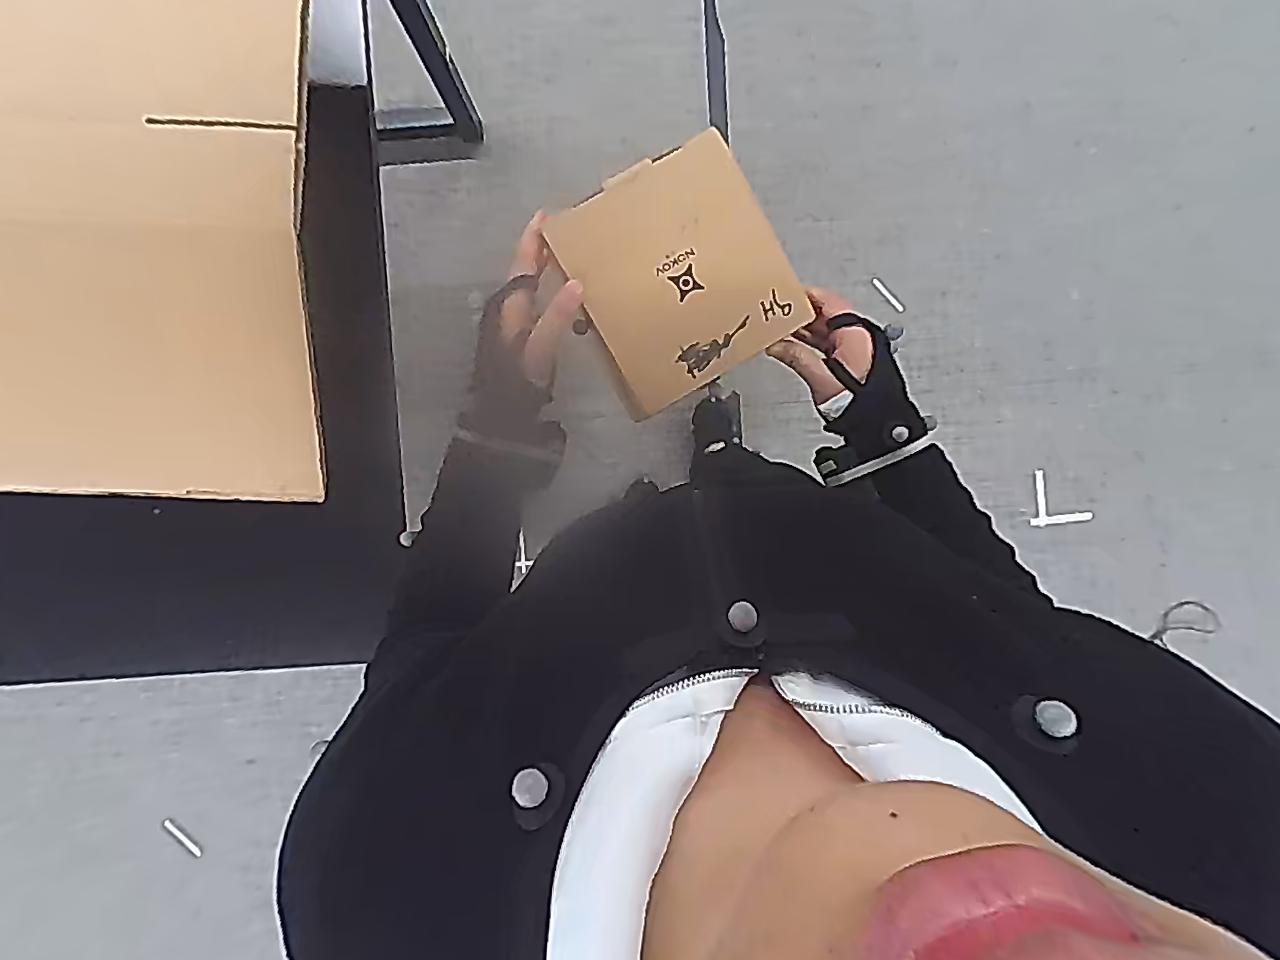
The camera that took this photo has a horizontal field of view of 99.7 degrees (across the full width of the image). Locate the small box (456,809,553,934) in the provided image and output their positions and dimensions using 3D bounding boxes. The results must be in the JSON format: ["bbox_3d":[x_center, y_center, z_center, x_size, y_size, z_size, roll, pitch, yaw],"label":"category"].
[{"bbox_3d":[-0.310,0.915,1.282,0.179,0.176,0.168,-11,91,1],"label":"small box"}]

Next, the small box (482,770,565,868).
[{"bbox_3d":[-0.306,0.907,1.444,0.179,0.176,0.168,-7,92,-1],"label":"small box"}]
